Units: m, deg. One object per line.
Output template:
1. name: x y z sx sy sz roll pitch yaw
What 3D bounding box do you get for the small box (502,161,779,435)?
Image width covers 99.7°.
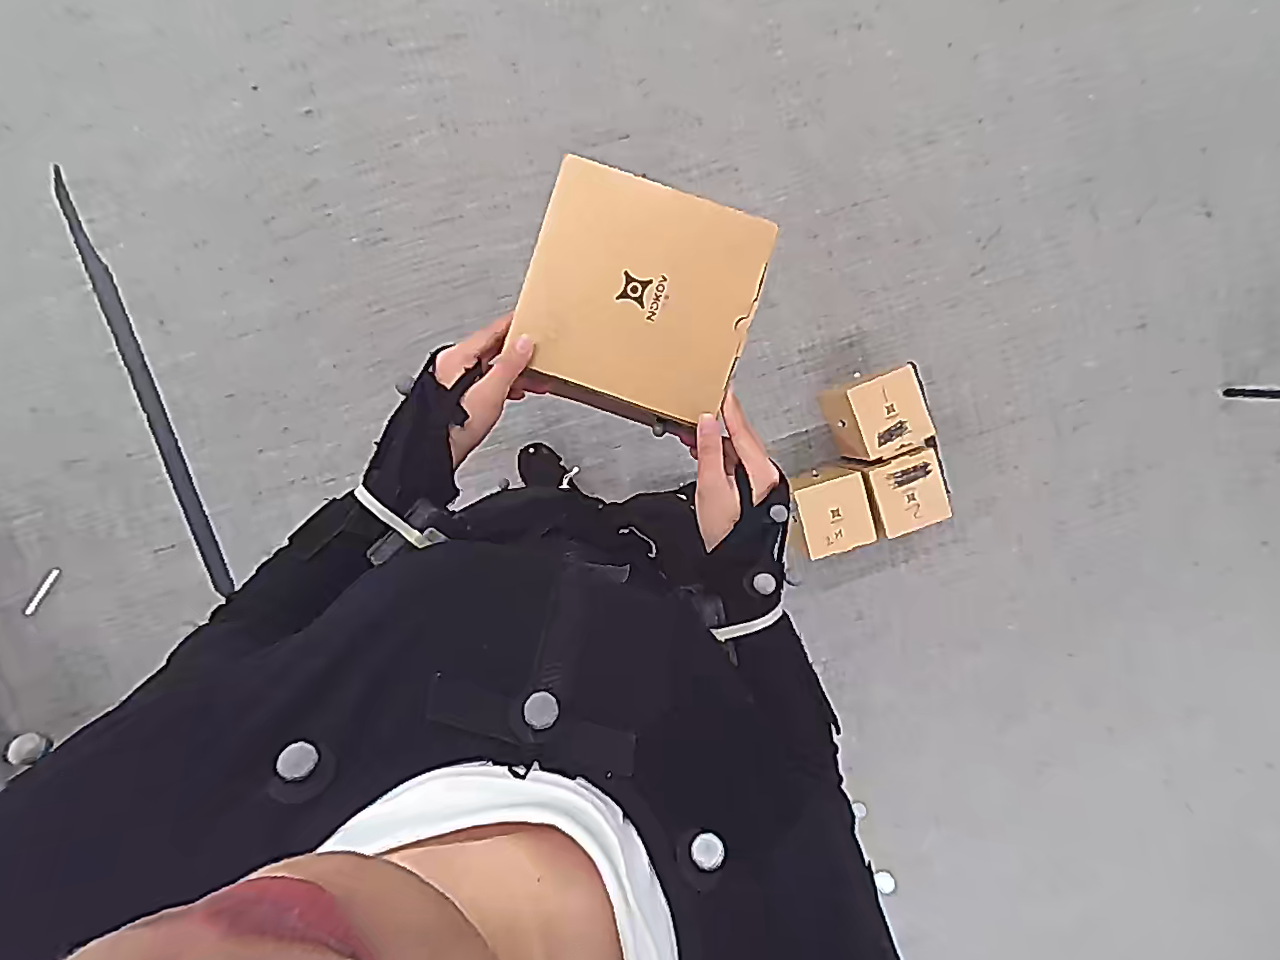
1. small box: 0.000 -0.143 0.493 0.179 0.176 0.168 18 92 0
